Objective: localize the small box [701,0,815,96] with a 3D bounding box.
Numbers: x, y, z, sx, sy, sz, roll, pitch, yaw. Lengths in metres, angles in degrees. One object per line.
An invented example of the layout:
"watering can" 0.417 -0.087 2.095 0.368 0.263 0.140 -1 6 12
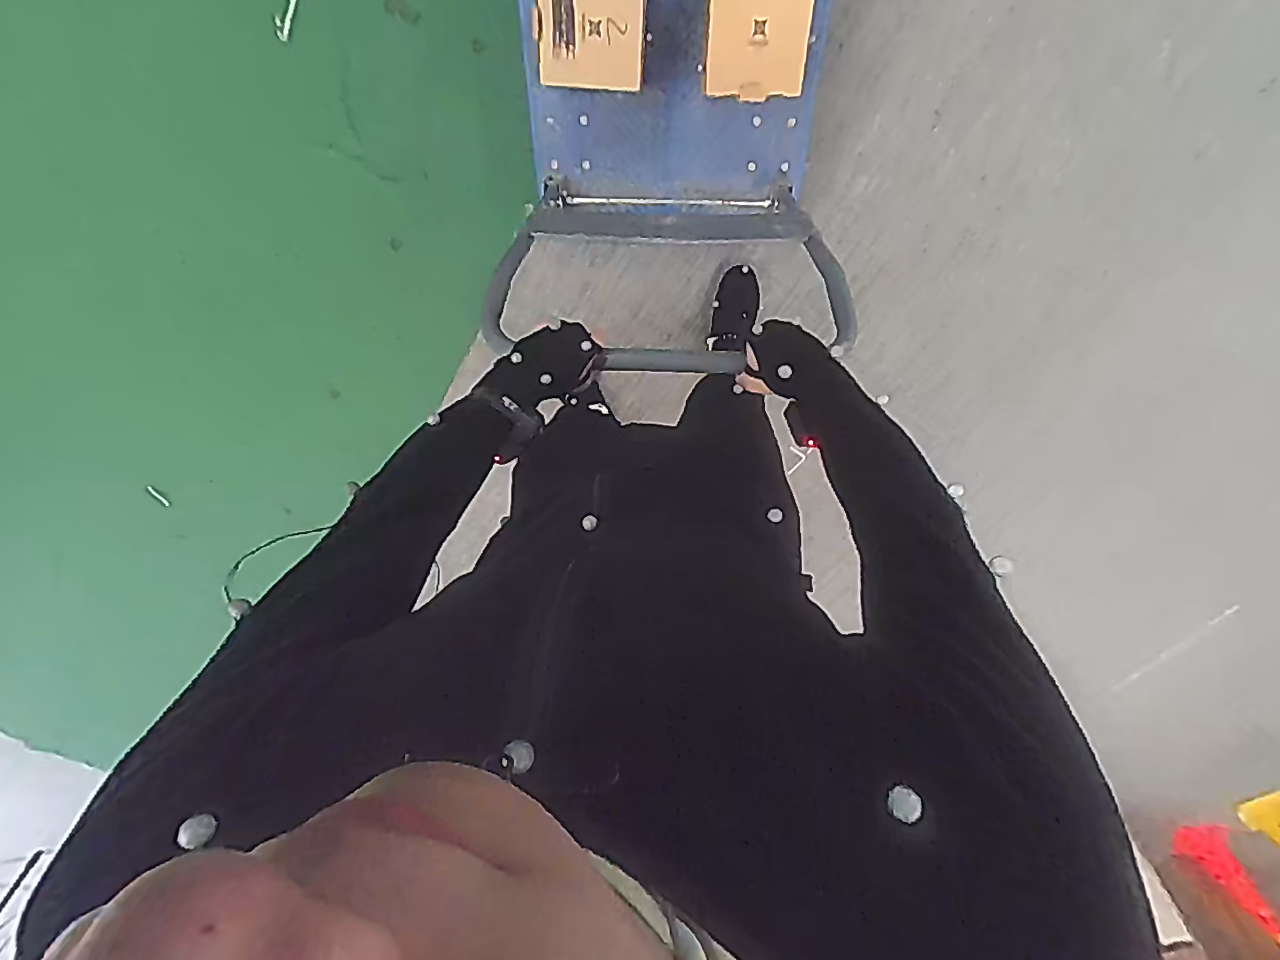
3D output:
"small box" 0.196 -0.780 0.938 0.168 0.176 0.179 2 129 2
